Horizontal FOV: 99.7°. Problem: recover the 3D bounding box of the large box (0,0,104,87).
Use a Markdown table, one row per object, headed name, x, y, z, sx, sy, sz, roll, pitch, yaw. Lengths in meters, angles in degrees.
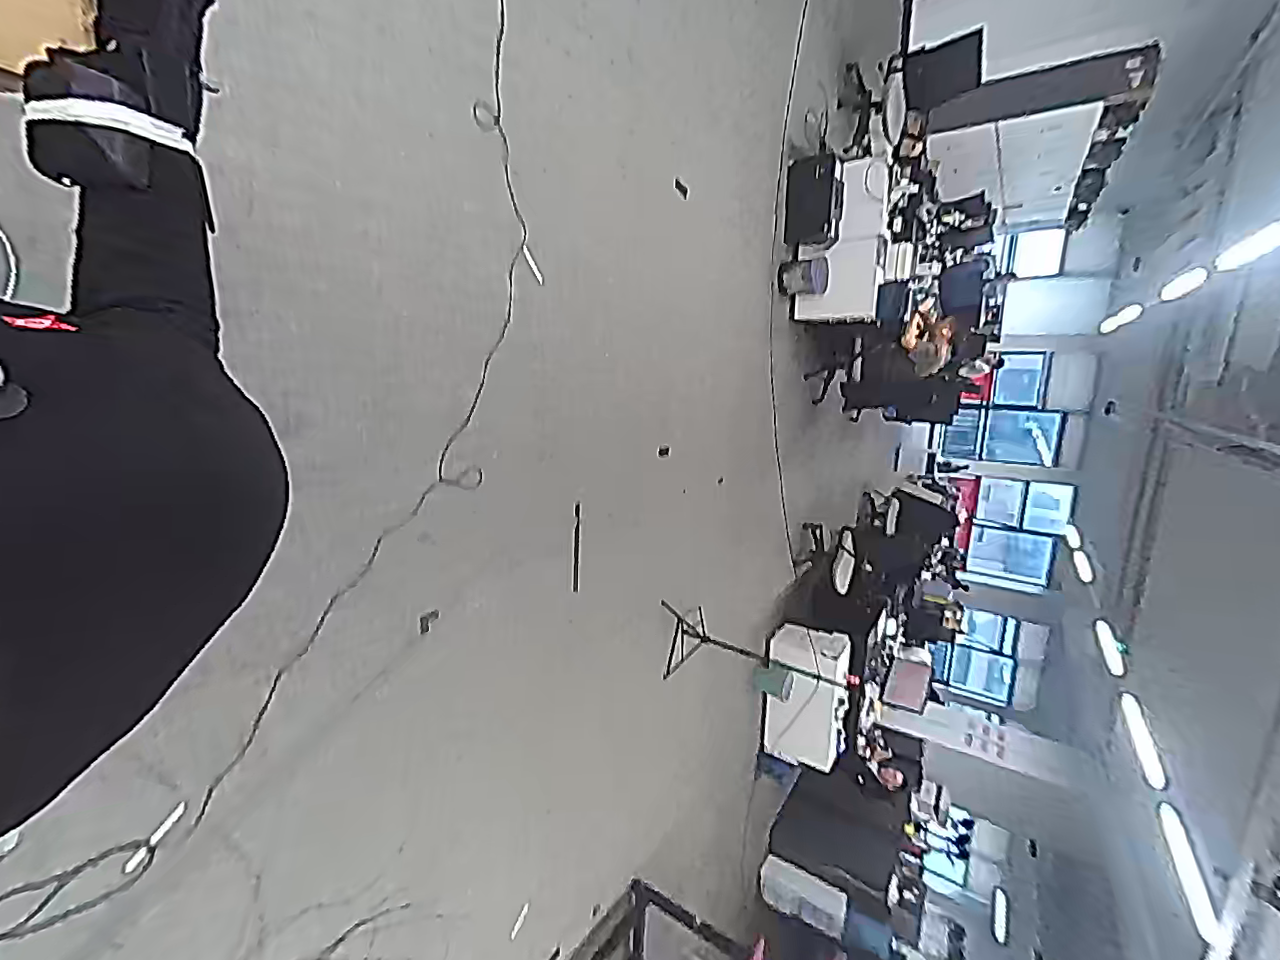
| name | x | y | z | sx | sy | sz | roll | pitch | yaw |
| --- | --- | --- | --- | --- | --- | --- | --- | --- | --- |
| large box | -0.565 | -0.426 | 0.224 | 0.408 | 0.320 | 0.320 | -18 | 126 | -59 |
